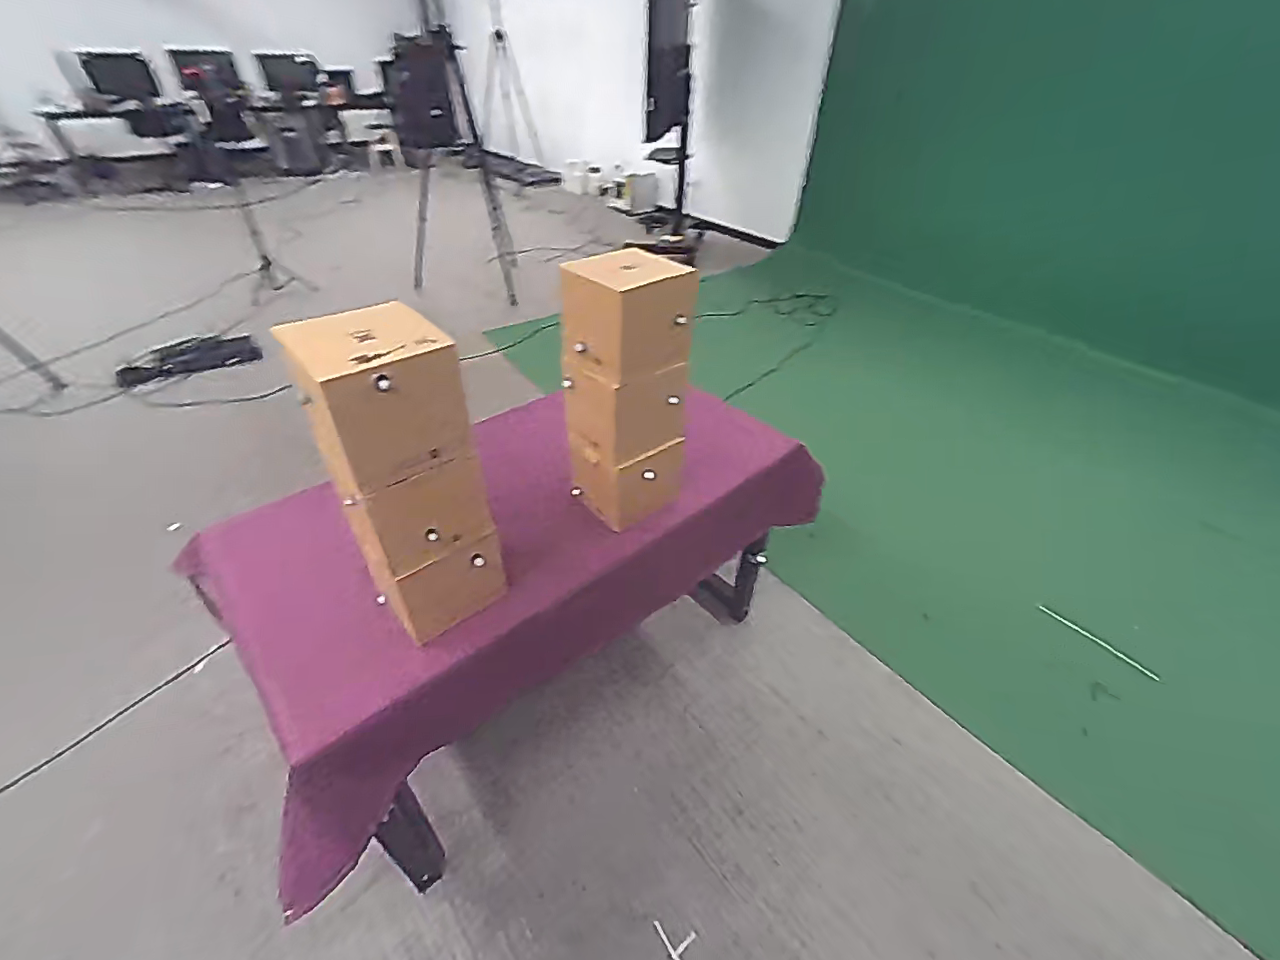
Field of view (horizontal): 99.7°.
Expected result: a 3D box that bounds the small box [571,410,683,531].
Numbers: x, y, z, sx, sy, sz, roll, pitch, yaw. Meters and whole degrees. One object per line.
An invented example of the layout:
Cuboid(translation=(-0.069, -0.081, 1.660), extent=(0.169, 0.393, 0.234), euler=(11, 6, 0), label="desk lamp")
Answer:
Cuboid(translation=(-0.027, -0.019, 1.156), extent=(0.179, 0.176, 0.168), euler=(-26, 47, -31), label="small box")

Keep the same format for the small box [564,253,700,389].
Cuboid(translation=(-0.018, -0.286, 0.965), extent=(0.179, 0.176, 0.168), euler=(-28, 47, -32), label="small box")

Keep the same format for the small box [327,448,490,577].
Cuboid(translation=(-0.353, 0.016, 0.837), extent=(0.168, 0.176, 0.179), euler=(-28, 49, -33), label="small box")

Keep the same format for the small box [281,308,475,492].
Cuboid(translation=(-0.346, -0.112, 0.733), extent=(0.168, 0.176, 0.179), euler=(-28, 48, -32), label="small box")

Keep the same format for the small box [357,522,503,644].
Cuboid(translation=(-0.353, 0.143, 0.938), extent=(0.179, 0.176, 0.168), euler=(-29, 48, -33), label="small box")
